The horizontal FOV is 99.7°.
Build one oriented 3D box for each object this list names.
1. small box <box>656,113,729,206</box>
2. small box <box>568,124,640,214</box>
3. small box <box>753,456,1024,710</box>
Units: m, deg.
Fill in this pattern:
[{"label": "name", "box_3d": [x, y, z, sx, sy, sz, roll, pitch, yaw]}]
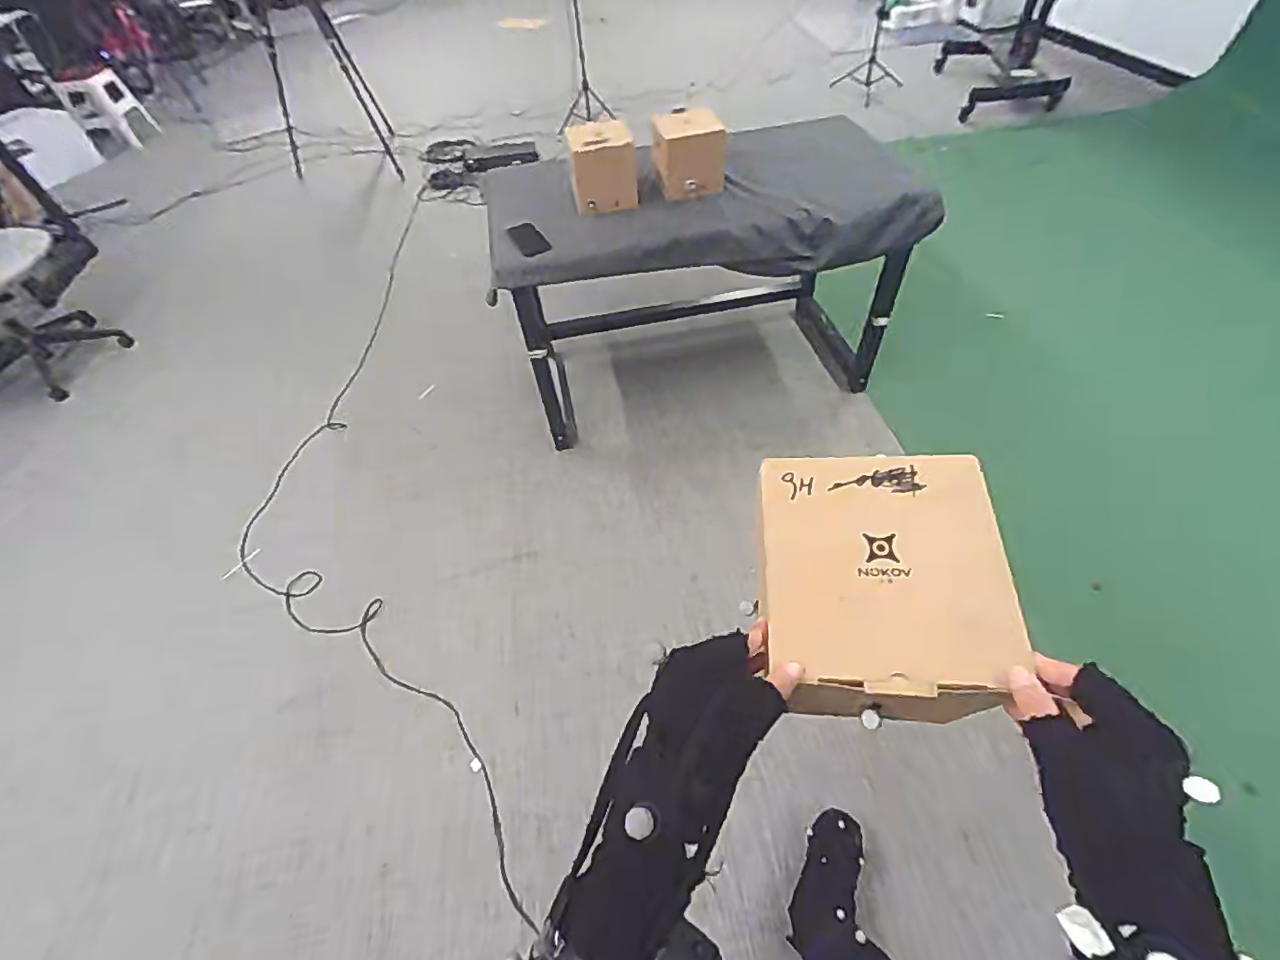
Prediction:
[{"label": "small box", "box_3d": [0.143, -0.905, 1.530, 0.168, 0.176, 0.179, -13, 53, -4]}, {"label": "small box", "box_3d": [-0.097, -0.859, 1.508, 0.168, 0.176, 0.179, -11, 51, -5]}, {"label": "small box", "box_3d": [0.187, 0.096, 0.469, 0.168, 0.176, 0.179, -1, 61, 9]}]
